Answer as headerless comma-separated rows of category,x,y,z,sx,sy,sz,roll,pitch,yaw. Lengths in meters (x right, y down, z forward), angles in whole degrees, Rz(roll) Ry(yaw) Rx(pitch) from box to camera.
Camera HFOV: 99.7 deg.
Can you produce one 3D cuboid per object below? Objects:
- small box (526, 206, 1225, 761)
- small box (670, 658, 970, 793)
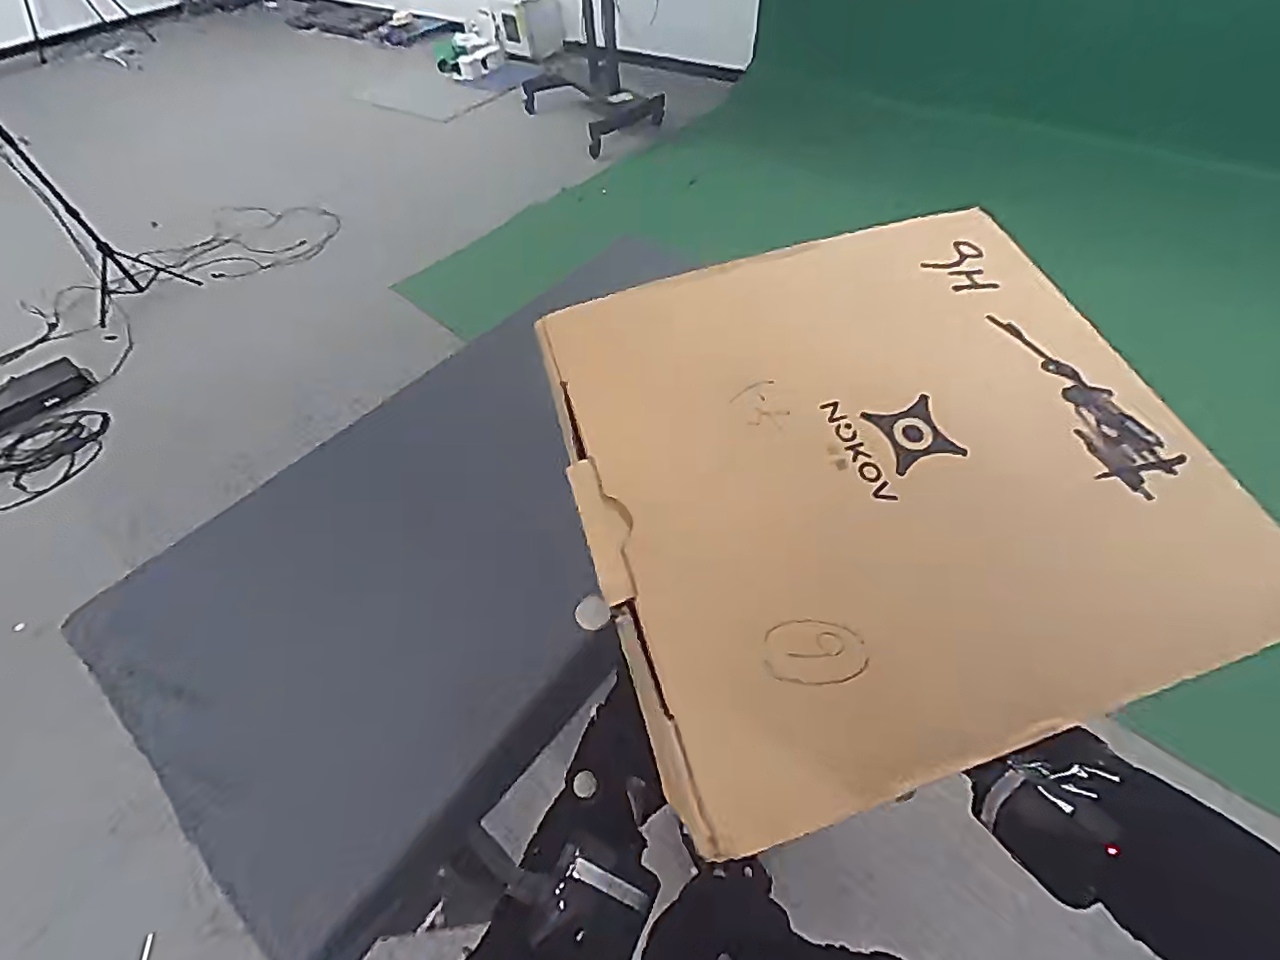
small box,0.066,0.015,0.251,0.179,0.176,0.168,-19,62,-9
small box,0.081,0.098,0.389,0.168,0.176,0.179,-15,65,-6
